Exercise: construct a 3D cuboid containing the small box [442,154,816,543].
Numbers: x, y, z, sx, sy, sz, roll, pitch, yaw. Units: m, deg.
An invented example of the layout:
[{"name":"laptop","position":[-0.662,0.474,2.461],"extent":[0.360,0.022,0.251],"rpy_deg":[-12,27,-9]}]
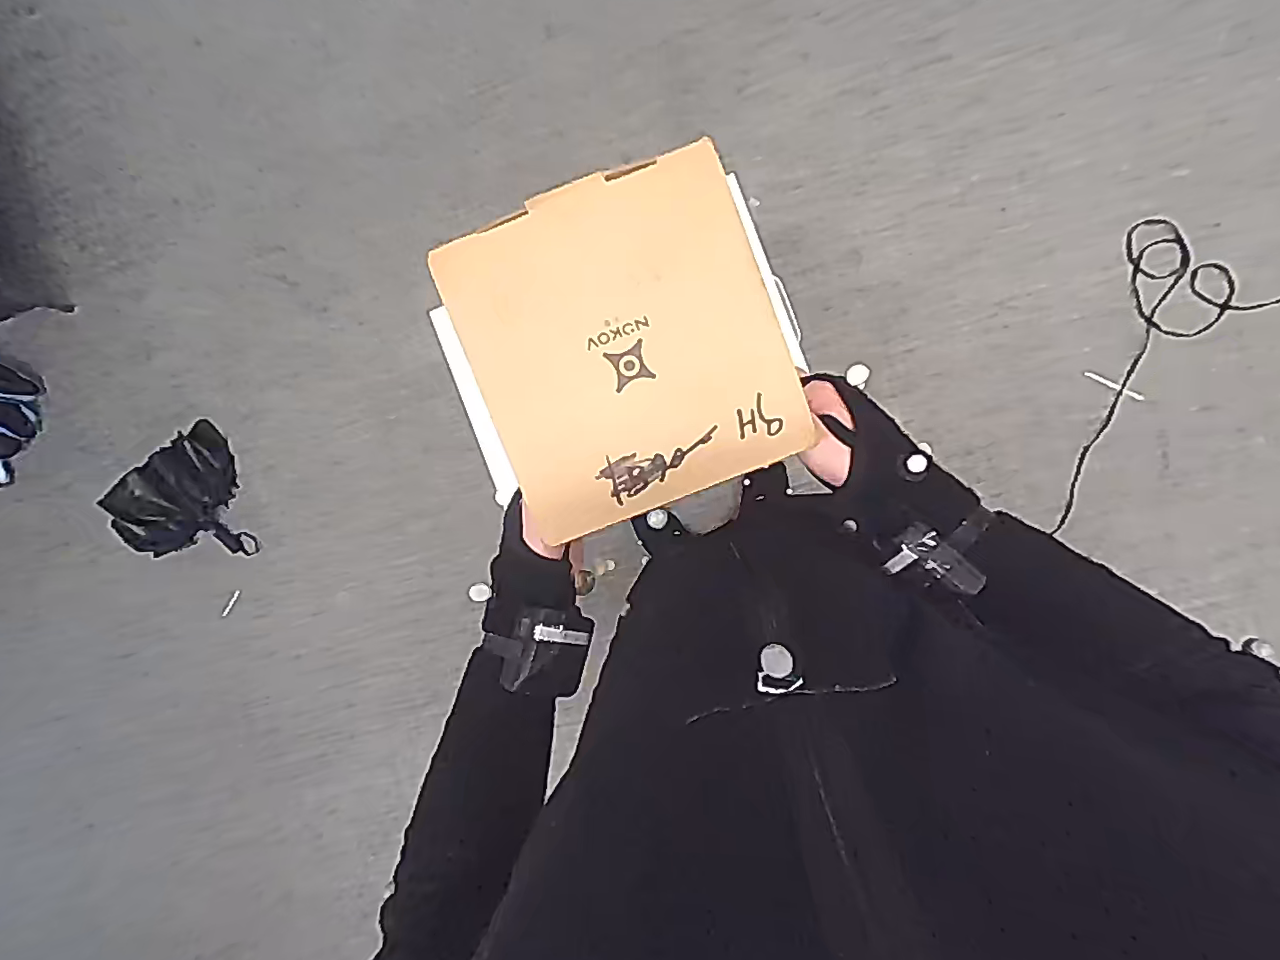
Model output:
[{"name":"small box","position":[-0.006,-0.076,0.379],"extent":[0.168,0.176,0.179],"rpy_deg":[-21,95,2]}]
